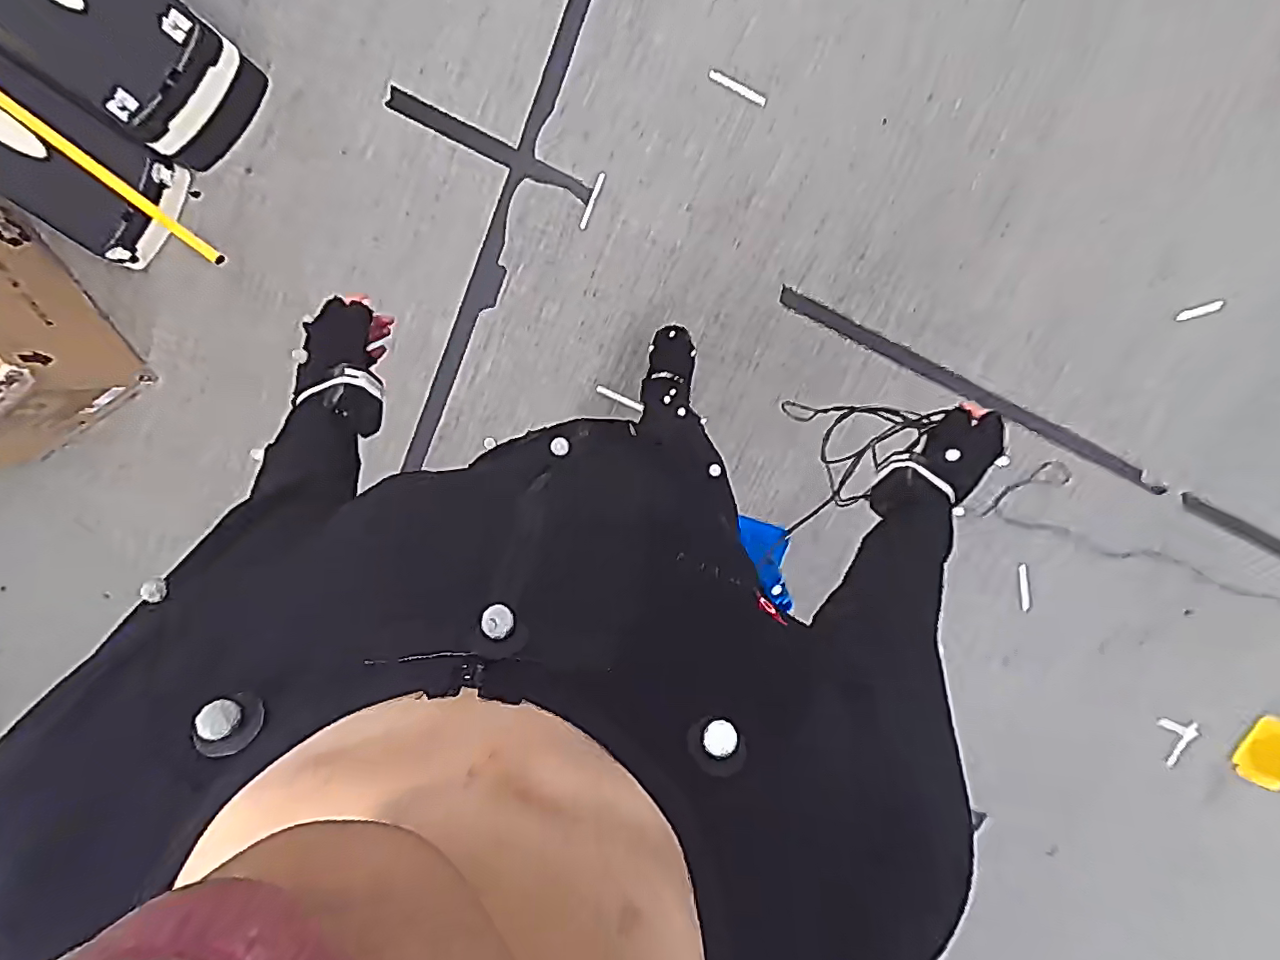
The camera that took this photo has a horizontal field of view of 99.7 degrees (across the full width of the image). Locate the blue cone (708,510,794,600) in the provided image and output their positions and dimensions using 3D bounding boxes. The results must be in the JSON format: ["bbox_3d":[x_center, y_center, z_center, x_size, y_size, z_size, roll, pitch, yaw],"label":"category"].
[{"bbox_3d":[0.301,0.217,1.327,0.193,0.380,0.192,19,98,-5],"label":"blue cone"}]
